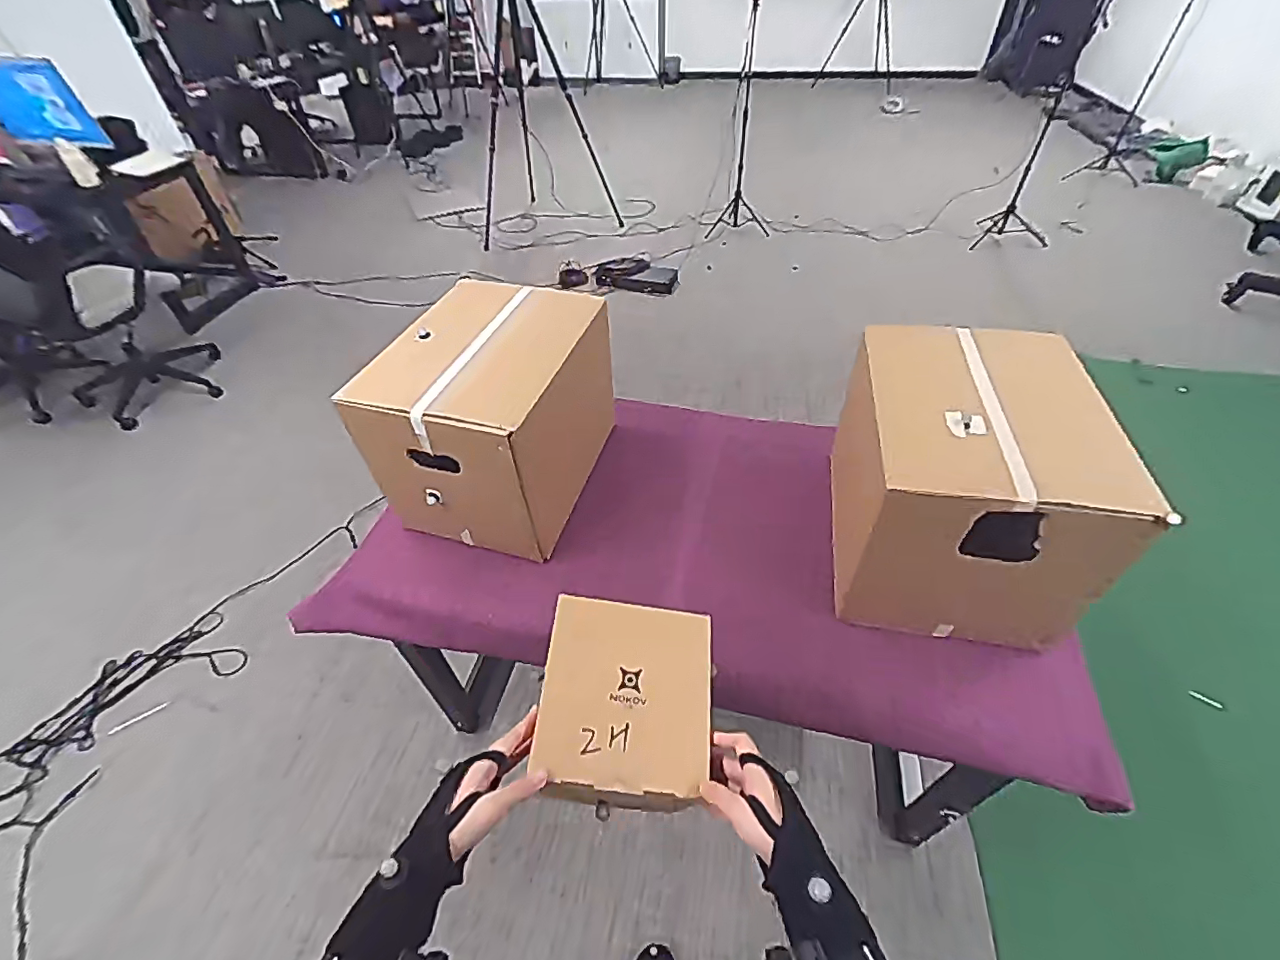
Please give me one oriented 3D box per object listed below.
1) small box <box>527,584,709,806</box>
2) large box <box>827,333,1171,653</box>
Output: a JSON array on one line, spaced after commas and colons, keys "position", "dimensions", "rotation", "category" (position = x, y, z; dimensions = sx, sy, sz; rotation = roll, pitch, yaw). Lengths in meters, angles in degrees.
[{"position": [-0.026, 0.239, 0.591], "dimensions": [0.168, 0.176, 0.179], "rotation": [10, 53, -4], "category": "small box"}, {"position": [0.499, 0.006, 0.877], "dimensions": [0.320, 0.320, 0.408], "rotation": [6, 46, 11], "category": "large box"}]
